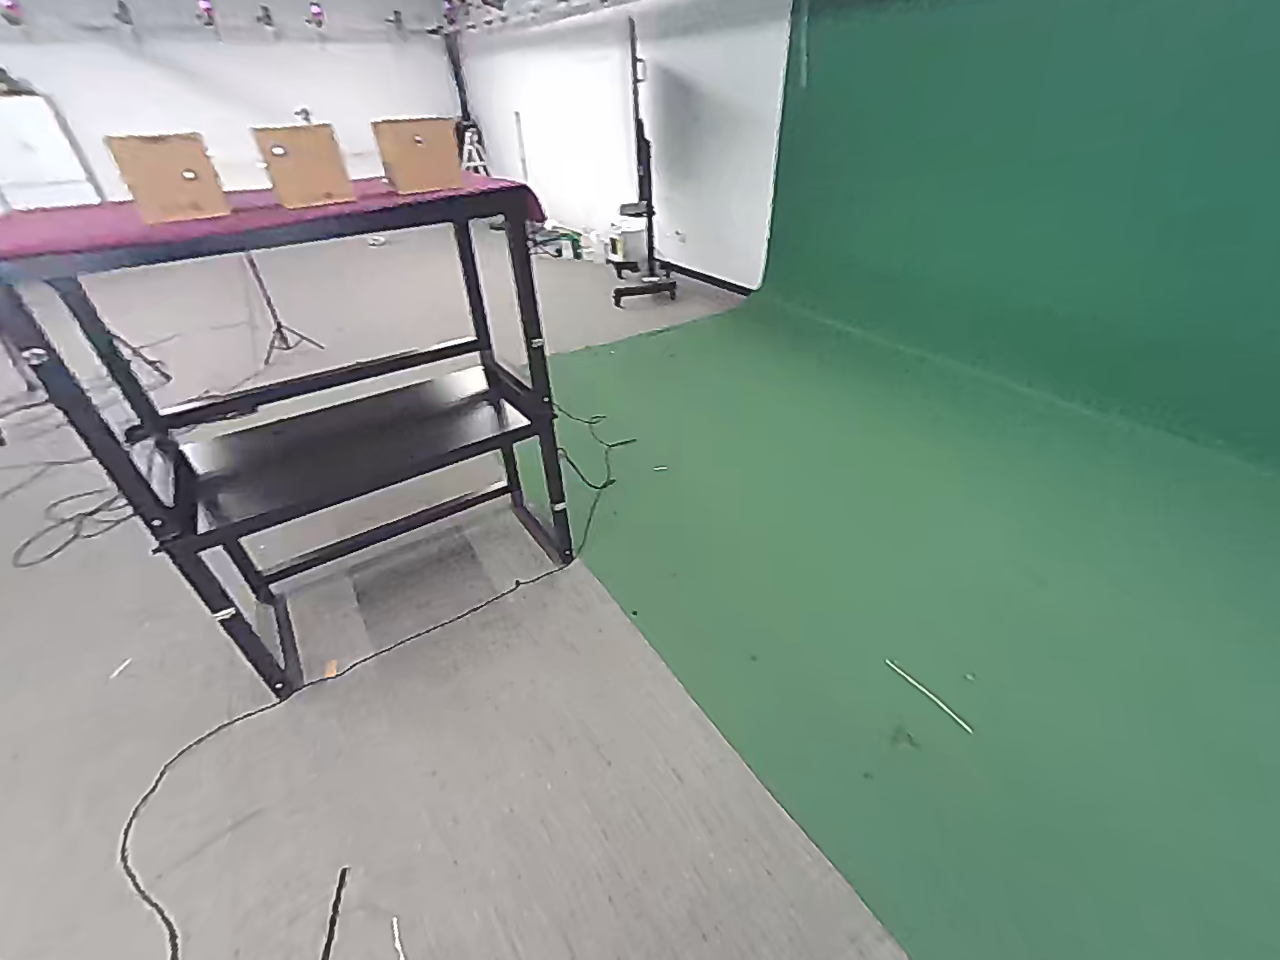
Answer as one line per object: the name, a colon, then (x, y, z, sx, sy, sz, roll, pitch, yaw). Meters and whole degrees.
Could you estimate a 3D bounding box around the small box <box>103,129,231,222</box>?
small box: (-1.065, -0.694, 1.234, 0.168, 0.176, 0.179, -21, 39, -26)

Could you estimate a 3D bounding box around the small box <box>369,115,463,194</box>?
small box: (-0.610, -0.890, 1.479, 0.179, 0.176, 0.168, -23, 40, -26)
